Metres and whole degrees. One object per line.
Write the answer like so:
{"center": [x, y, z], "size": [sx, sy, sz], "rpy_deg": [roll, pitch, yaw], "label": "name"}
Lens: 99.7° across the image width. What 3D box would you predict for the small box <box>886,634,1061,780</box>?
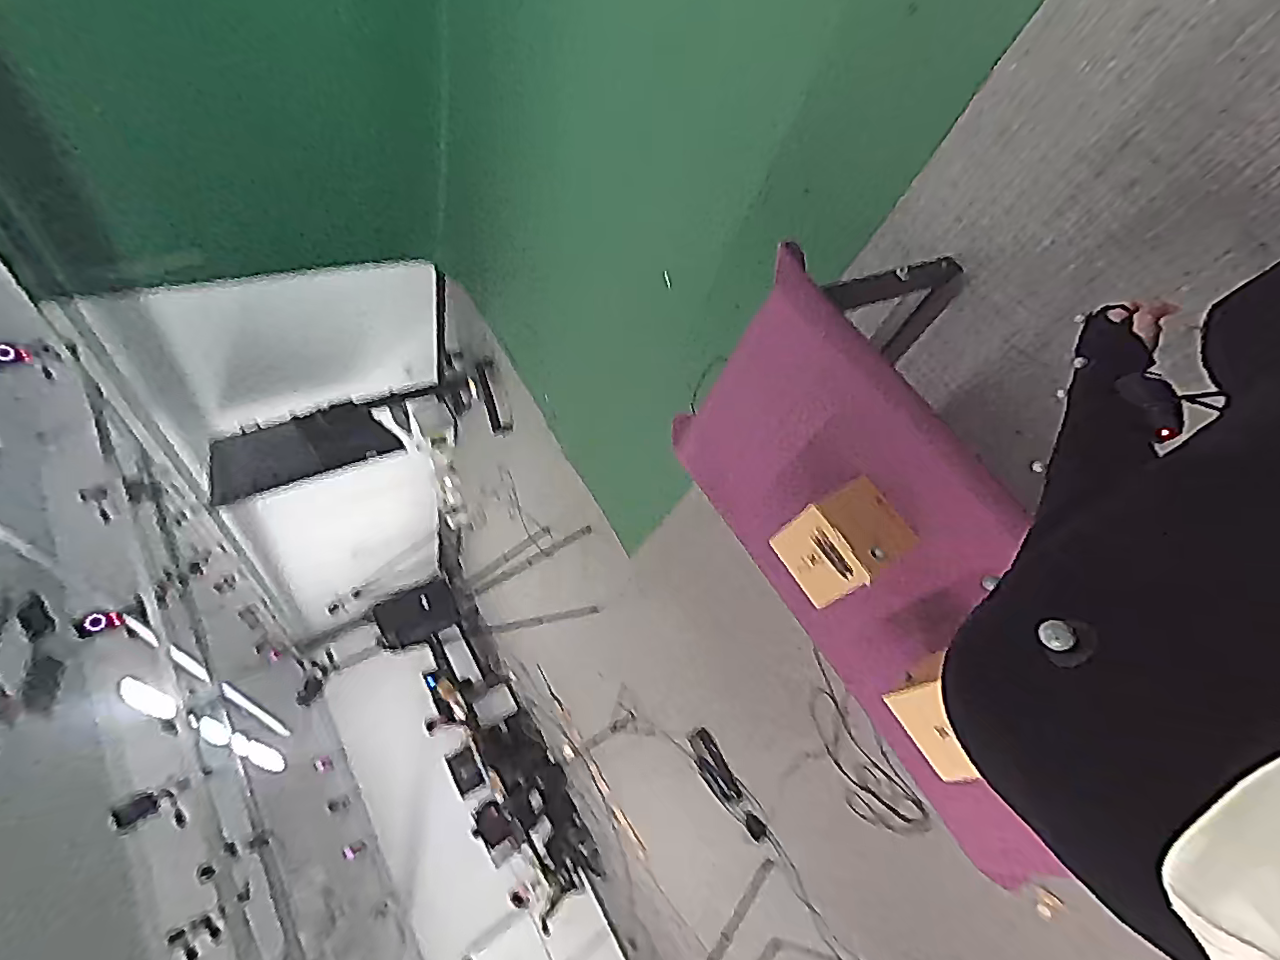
{"center": [0.596, 0.406, 0.971], "size": [0.168, 0.176, 0.179], "rpy_deg": [55, 147, 18], "label": "small box"}
